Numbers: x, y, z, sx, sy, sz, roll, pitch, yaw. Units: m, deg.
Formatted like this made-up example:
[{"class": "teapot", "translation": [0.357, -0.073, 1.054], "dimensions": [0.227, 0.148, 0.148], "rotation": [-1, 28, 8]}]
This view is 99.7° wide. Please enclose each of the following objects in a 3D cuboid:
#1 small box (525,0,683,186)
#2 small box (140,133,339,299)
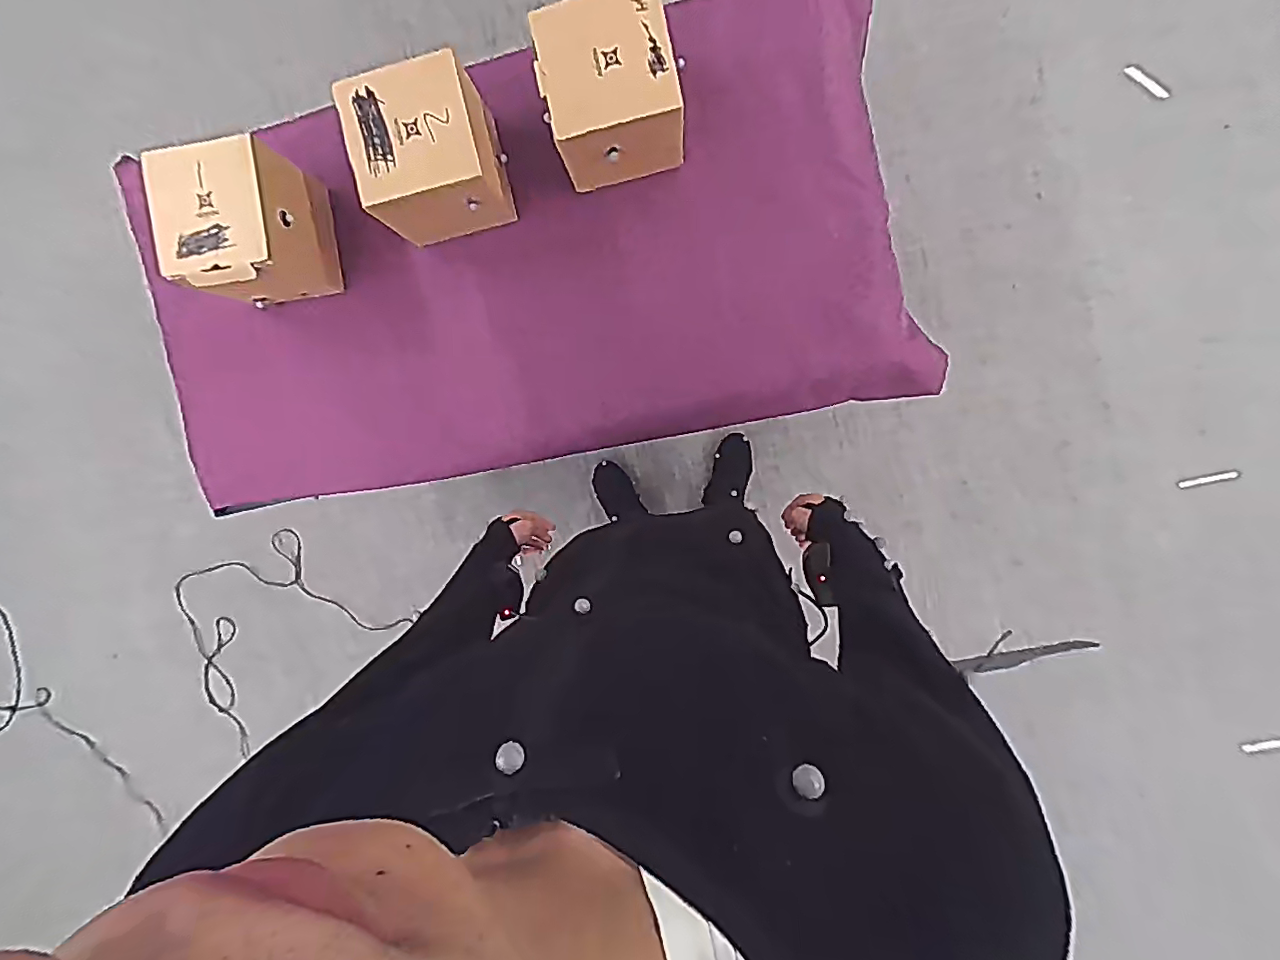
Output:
[{"class": "small box", "translation": [-0.039, -0.548, 0.766], "dimensions": [0.179, 0.176, 0.168], "rotation": [-12, 96, 6]}, {"class": "small box", "translation": [-0.592, -0.384, 0.824], "dimensions": [0.168, 0.176, 0.179], "rotation": [-7, 94, 4]}]
